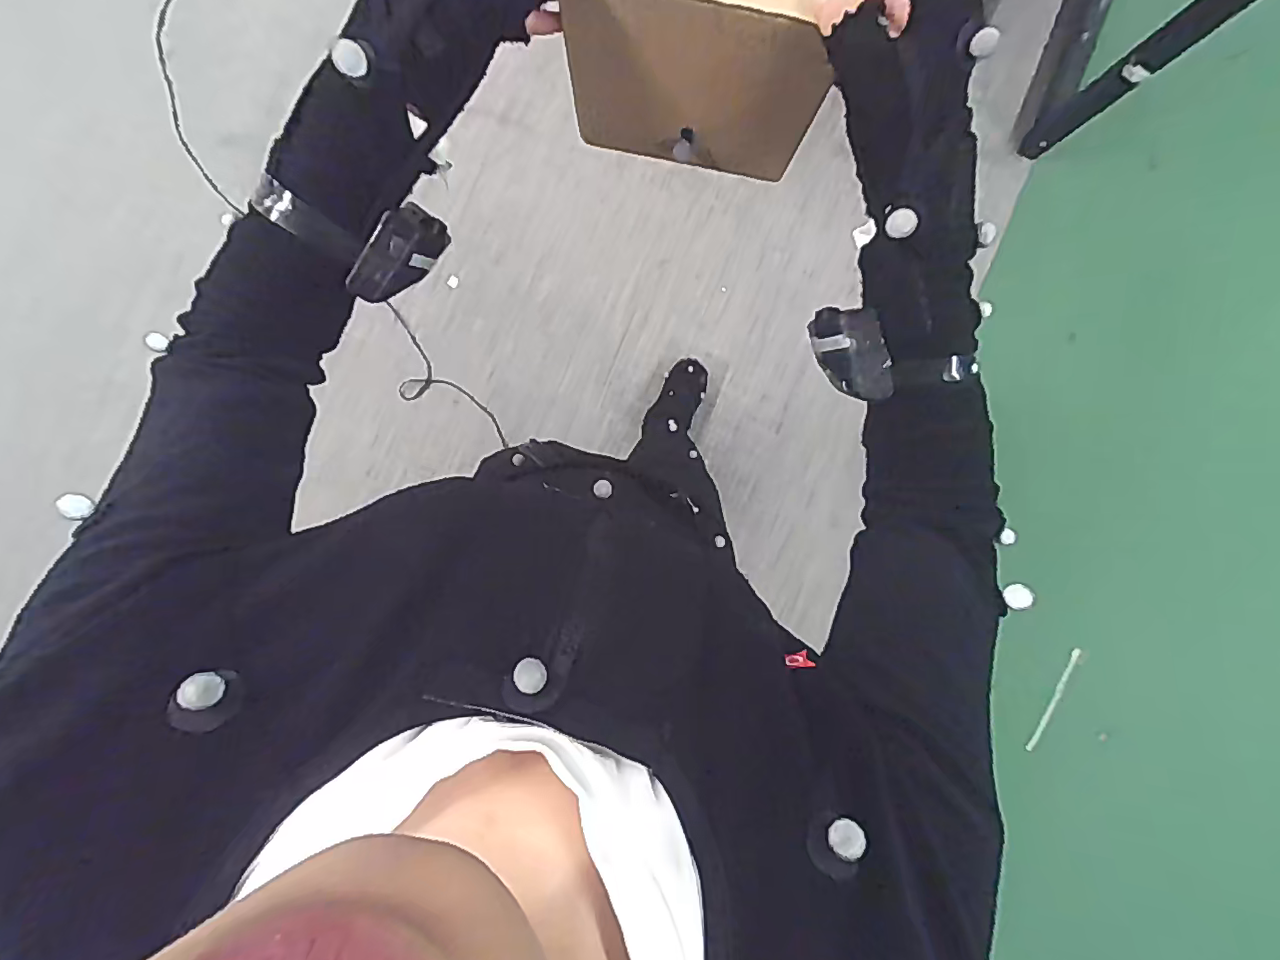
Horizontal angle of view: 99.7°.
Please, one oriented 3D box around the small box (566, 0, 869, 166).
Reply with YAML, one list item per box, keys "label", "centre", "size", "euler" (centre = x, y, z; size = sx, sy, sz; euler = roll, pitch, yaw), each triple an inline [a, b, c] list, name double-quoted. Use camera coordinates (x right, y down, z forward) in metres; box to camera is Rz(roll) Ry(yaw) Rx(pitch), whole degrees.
- label: "small box"
  centre: [0.053, -0.354, 0.376]
  size: [0.179, 0.176, 0.168]
  euler: [11, 91, -3]
